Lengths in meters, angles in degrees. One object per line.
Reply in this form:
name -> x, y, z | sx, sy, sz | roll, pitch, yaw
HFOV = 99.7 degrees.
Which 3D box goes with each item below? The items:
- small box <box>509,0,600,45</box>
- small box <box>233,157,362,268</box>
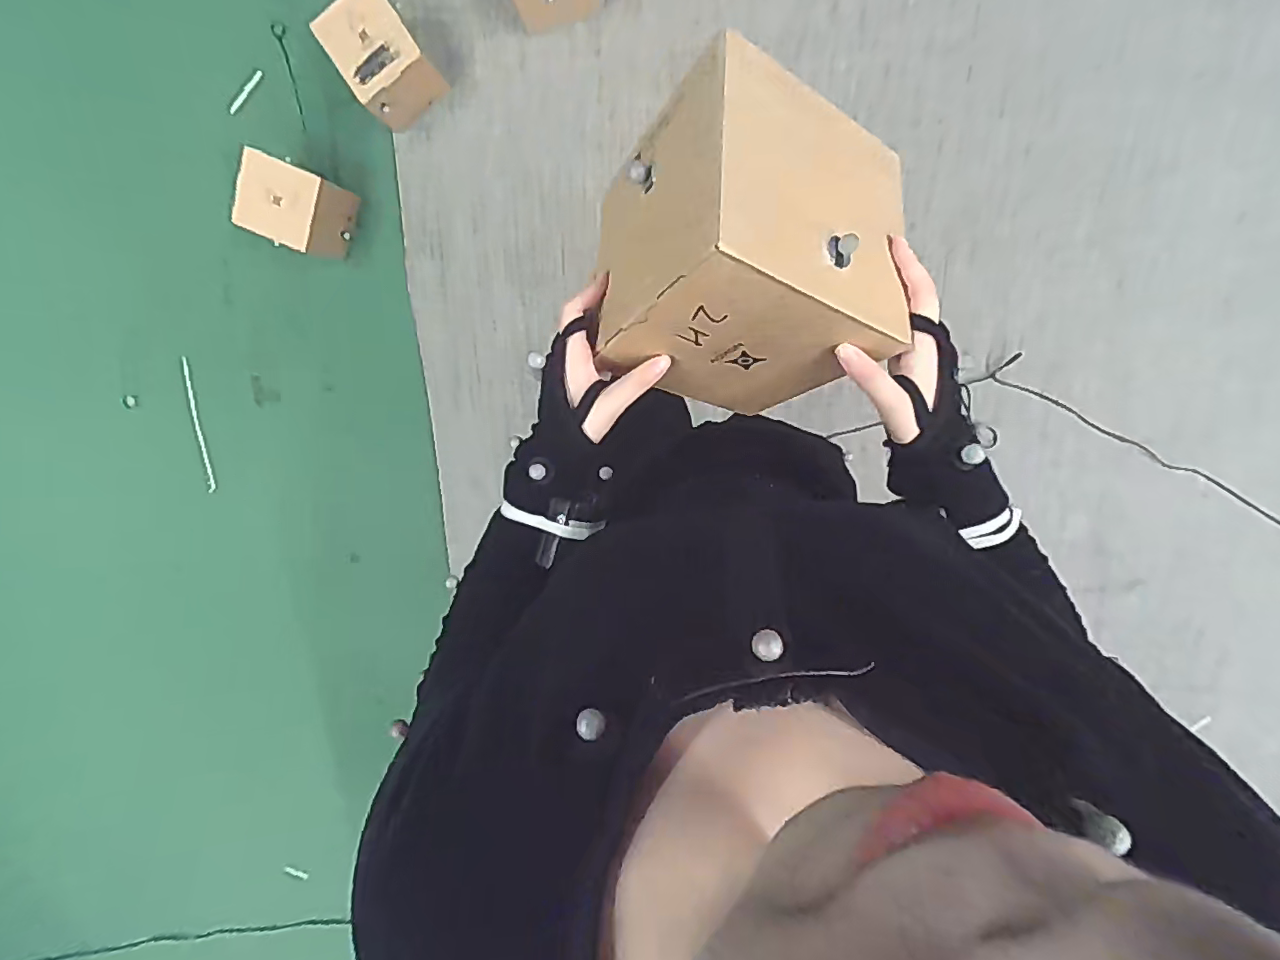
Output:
small box -> -0.192, -1.067, 1.138 | 0.179, 0.176, 0.168 | -13, 103, 4
small box -> -0.798, -0.616, 1.273 | 0.179, 0.176, 0.168 | 22, 104, -4
